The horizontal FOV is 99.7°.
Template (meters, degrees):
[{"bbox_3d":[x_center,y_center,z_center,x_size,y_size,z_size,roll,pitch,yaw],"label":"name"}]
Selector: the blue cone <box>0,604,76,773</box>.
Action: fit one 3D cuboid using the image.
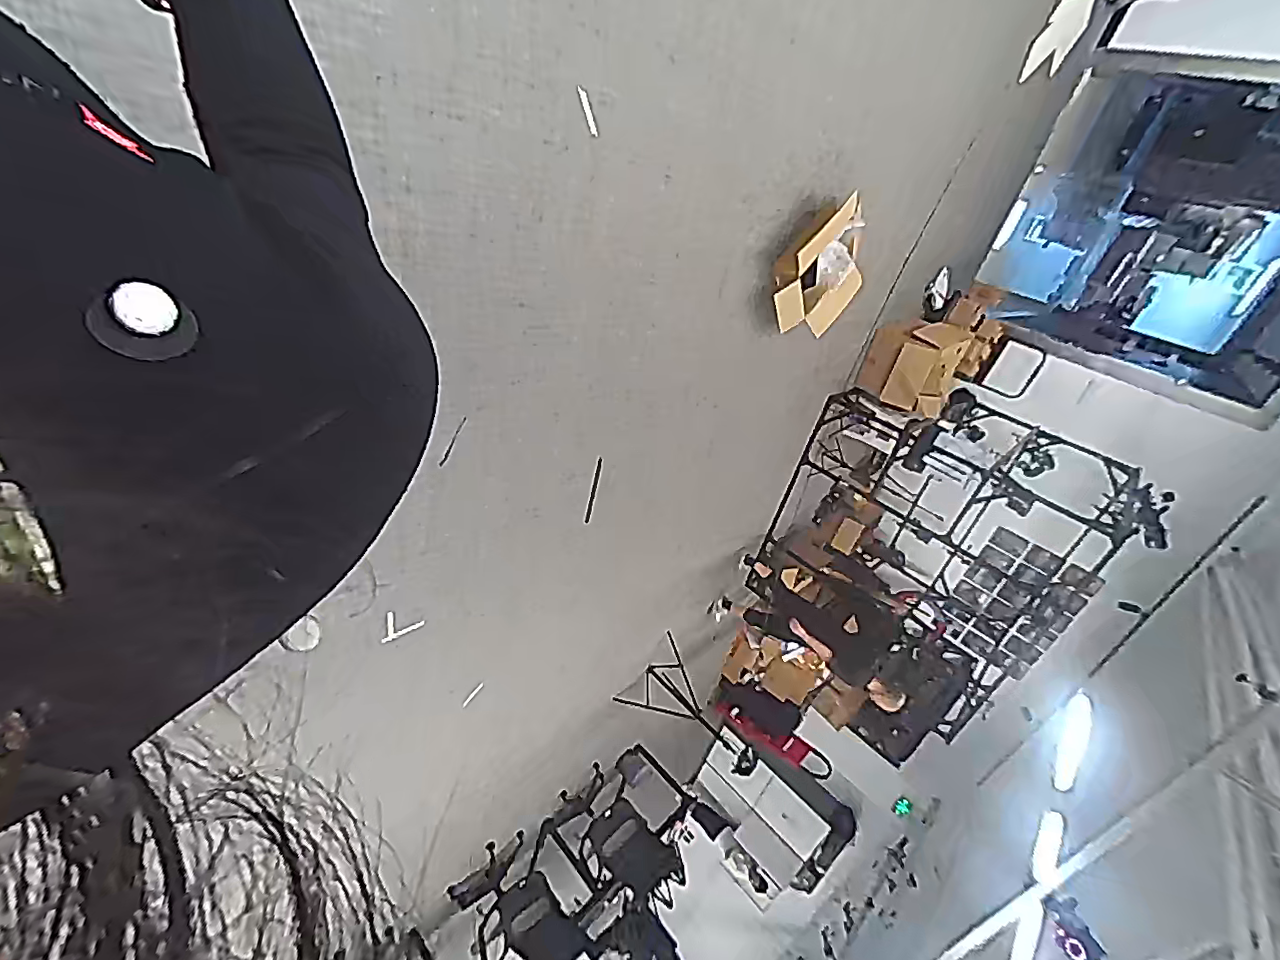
[{"bbox_3d":[-1.309,0.460,1.135,0.193,0.380,0.192,-19,134,-44],"label":"blue cone"}]
